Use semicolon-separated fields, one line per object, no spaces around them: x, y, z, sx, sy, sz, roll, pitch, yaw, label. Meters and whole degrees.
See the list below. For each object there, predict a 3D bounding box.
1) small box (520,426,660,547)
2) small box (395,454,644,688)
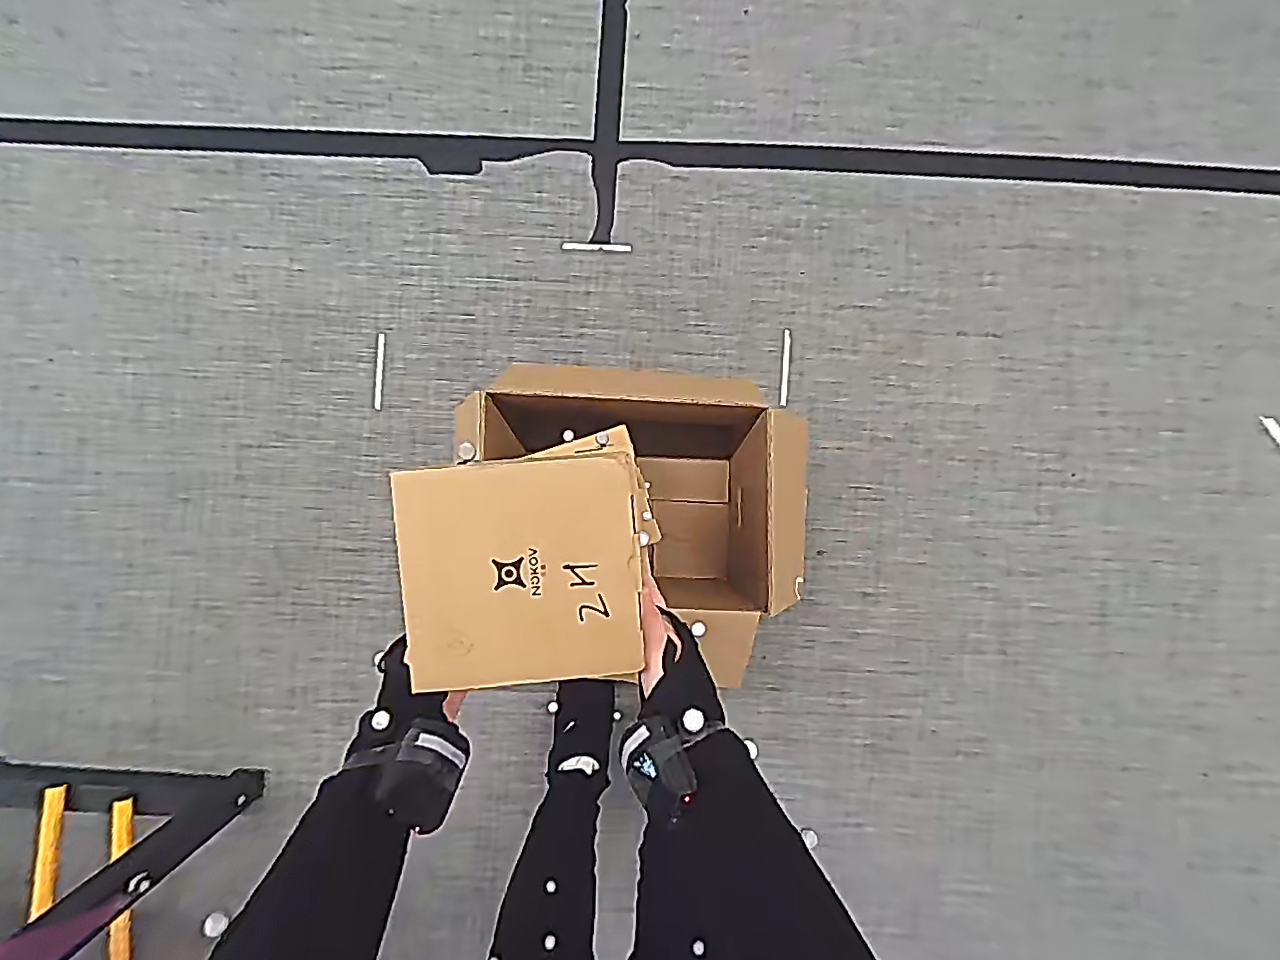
-0.081;0.027;0.806;0.179;0.176;0.168;-18;93;-3;small box
-0.091;0.064;0.478;0.179;0.176;0.168;-4;94;-4;small box
